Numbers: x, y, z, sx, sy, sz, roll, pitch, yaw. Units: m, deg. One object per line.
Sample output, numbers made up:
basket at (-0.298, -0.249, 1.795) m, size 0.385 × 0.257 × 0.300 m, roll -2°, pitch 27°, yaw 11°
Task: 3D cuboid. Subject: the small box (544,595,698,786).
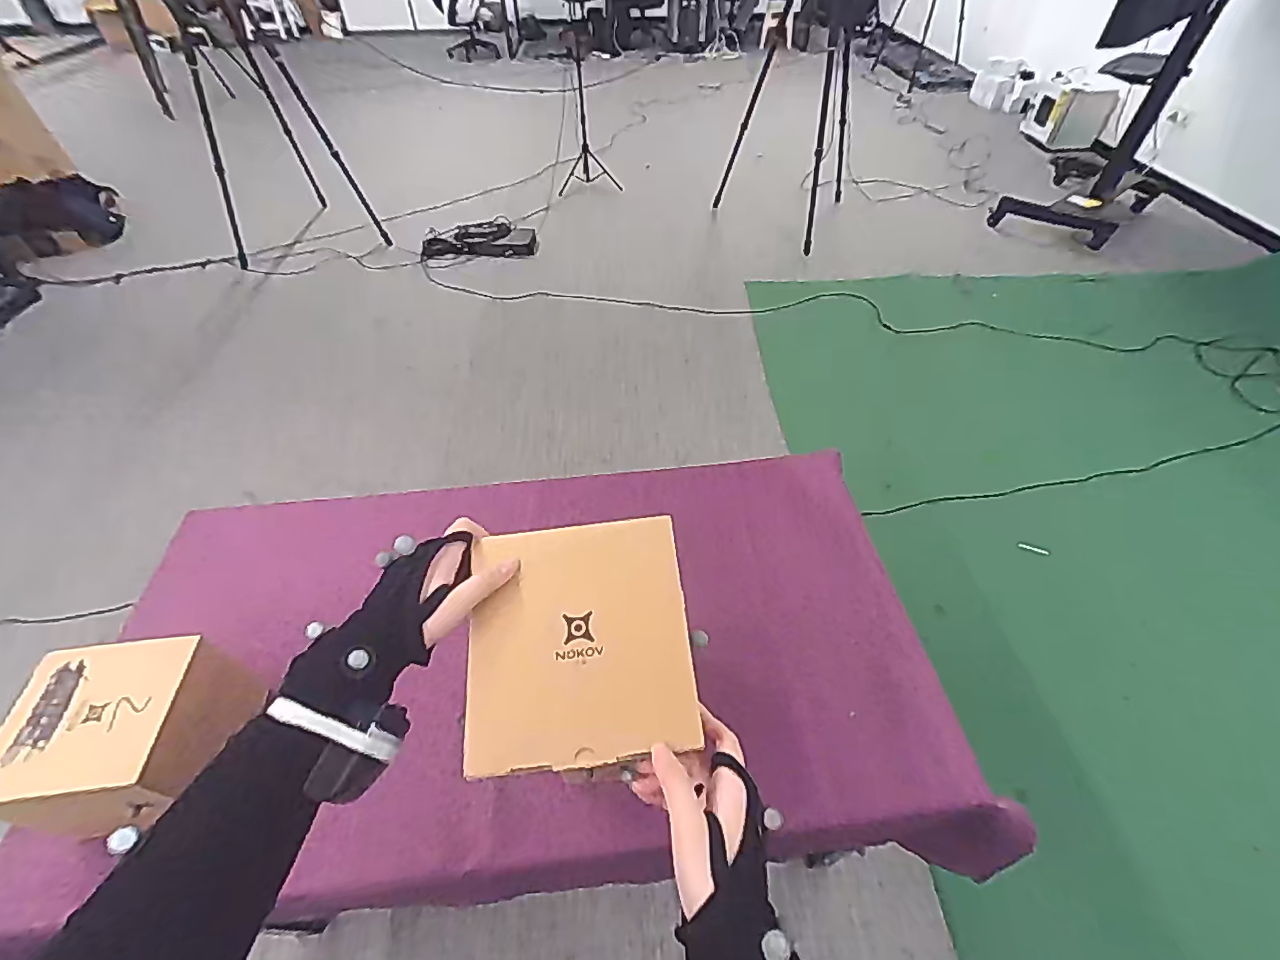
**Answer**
small box at (-0.023, 0.266, 0.682) m, size 0.168 × 0.176 × 0.179 m, roll -3°, pitch 49°, yaw -1°
